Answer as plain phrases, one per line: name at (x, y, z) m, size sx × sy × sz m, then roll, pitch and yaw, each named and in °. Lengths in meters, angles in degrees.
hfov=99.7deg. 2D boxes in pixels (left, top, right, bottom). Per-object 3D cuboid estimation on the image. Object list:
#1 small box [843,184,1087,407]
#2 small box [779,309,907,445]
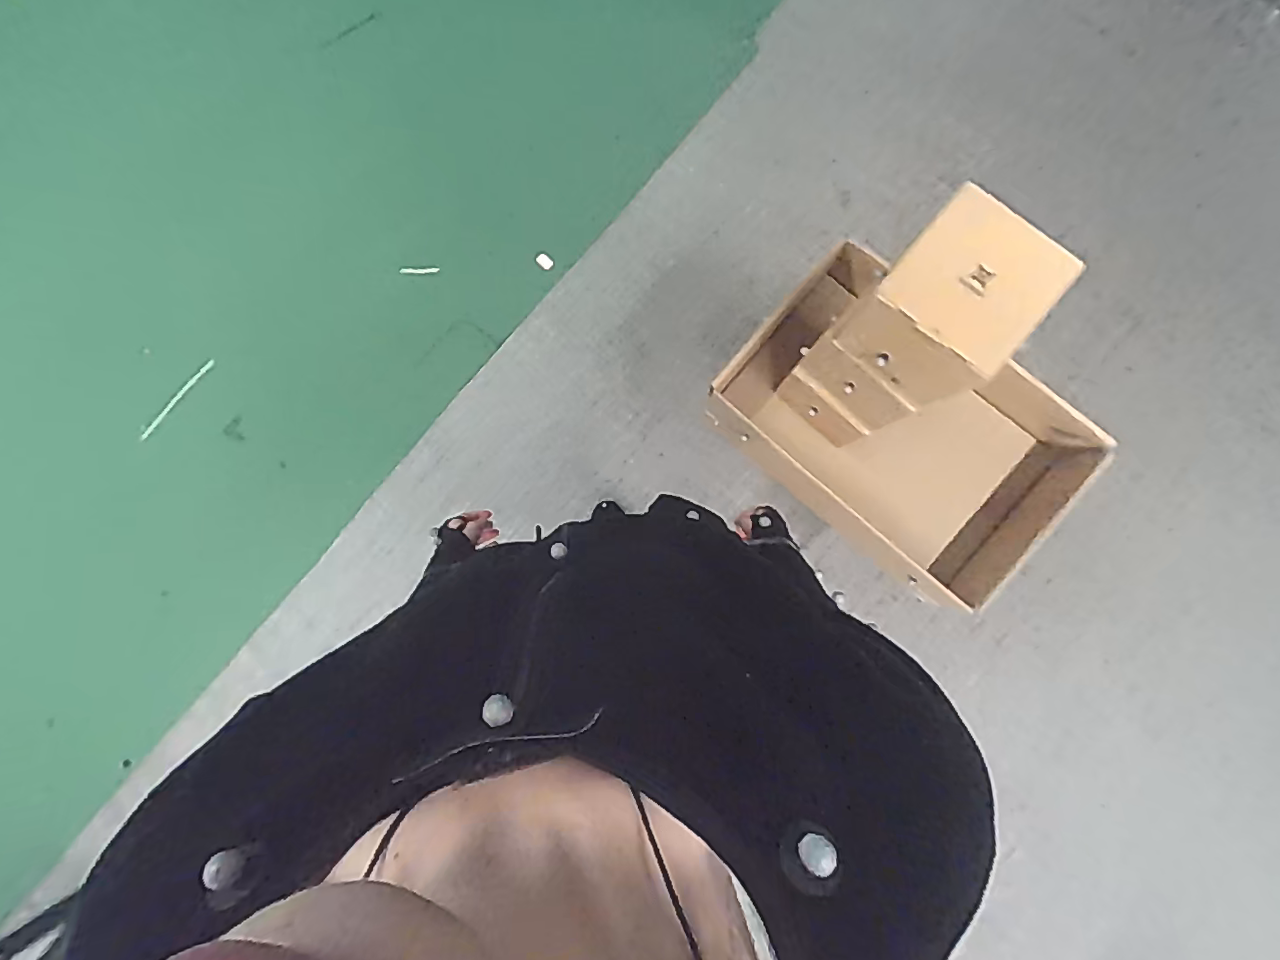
small box at (0.393, -0.220, 0.692) m, size 0.168 × 0.176 × 0.179 m, roll 40°, pitch 89°, yaw 5°
small box at (0.391, -0.181, 1.017) m, size 0.179 × 0.176 × 0.168 m, roll 43°, pitch 89°, yaw 5°
